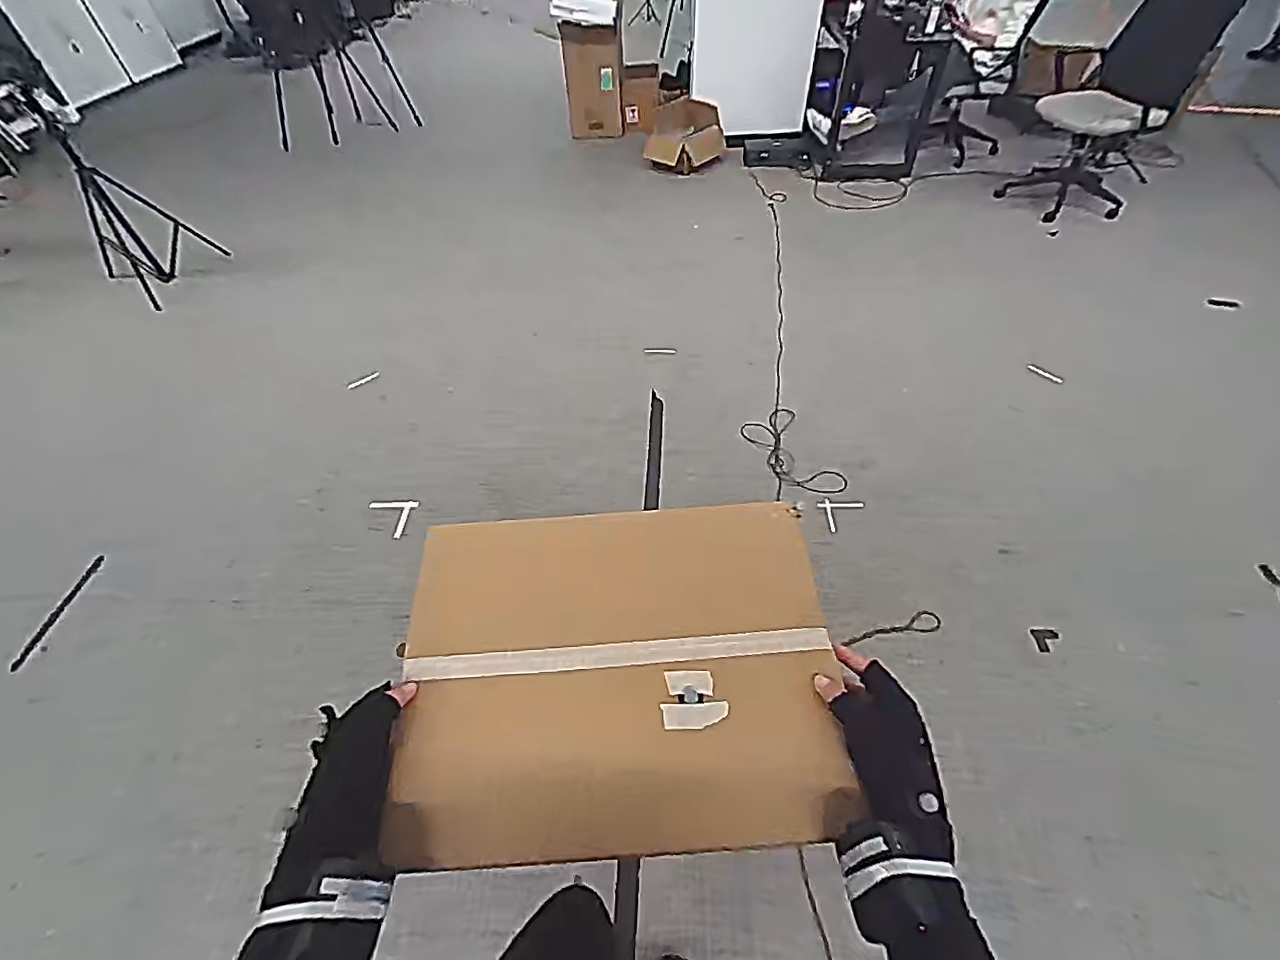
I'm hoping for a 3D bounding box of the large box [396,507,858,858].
[{"bbox_3d":[-0.018,0.255,0.662,0.408,0.320,0.320,-4,57,-1],"label":"large box"}]
